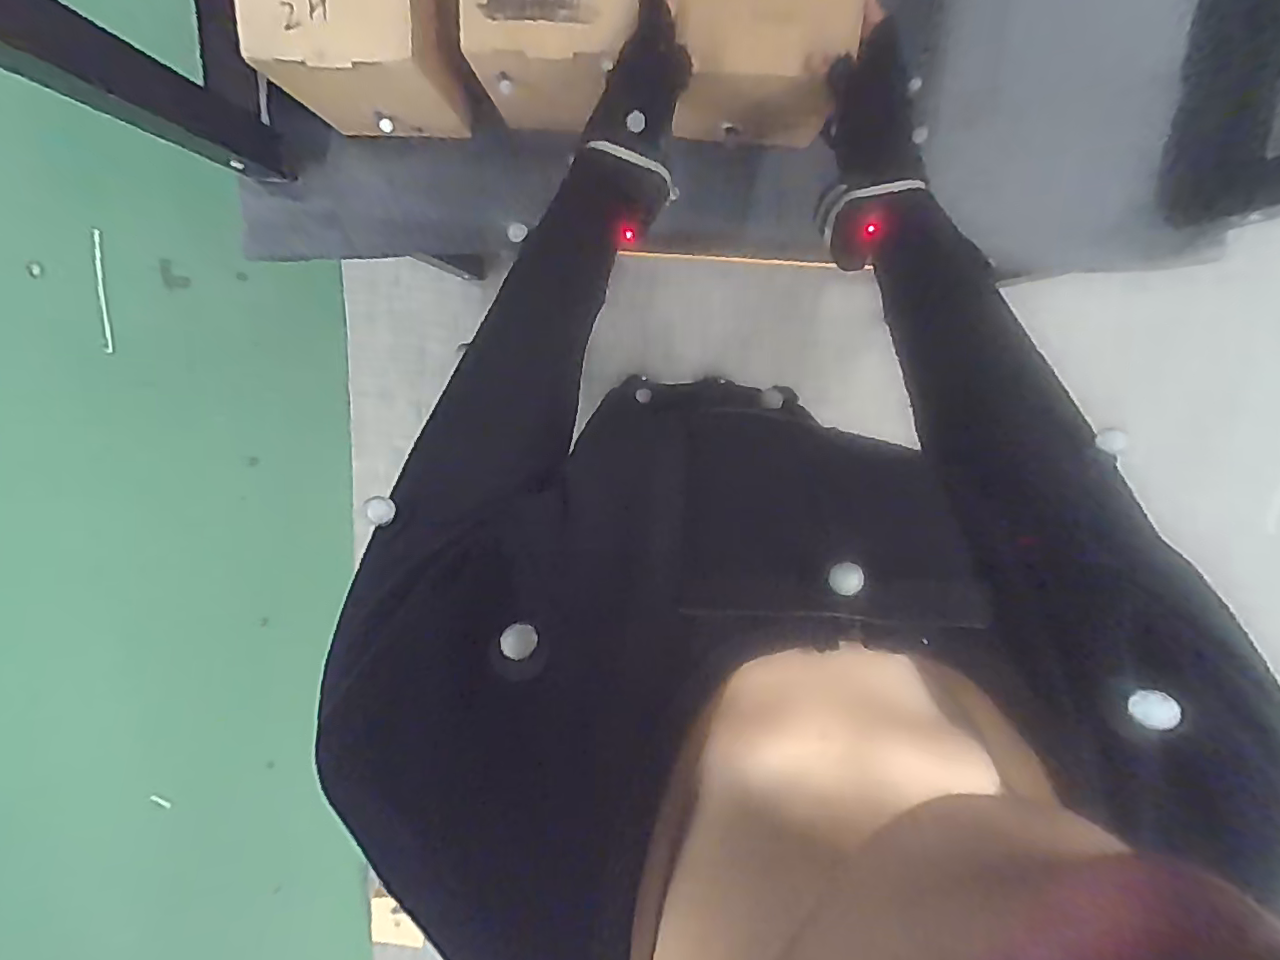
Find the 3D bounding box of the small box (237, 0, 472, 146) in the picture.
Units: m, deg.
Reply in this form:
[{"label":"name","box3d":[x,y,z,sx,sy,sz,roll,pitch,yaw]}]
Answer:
[{"label":"small box","box3d":[-0.284,-0.484,0.568,0.168,0.176,0.179,2,102,1]}]

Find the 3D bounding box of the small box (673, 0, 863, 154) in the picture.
[{"label":"small box","box3d":[0.122,-0.464,0.554,0.168,0.176,0.179,4,104,4]}]

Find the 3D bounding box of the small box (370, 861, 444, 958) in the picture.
[{"label":"small box","box3d":[-0.733,1.352,1.713,0.168,0.176,0.179,6,103,1]}]
